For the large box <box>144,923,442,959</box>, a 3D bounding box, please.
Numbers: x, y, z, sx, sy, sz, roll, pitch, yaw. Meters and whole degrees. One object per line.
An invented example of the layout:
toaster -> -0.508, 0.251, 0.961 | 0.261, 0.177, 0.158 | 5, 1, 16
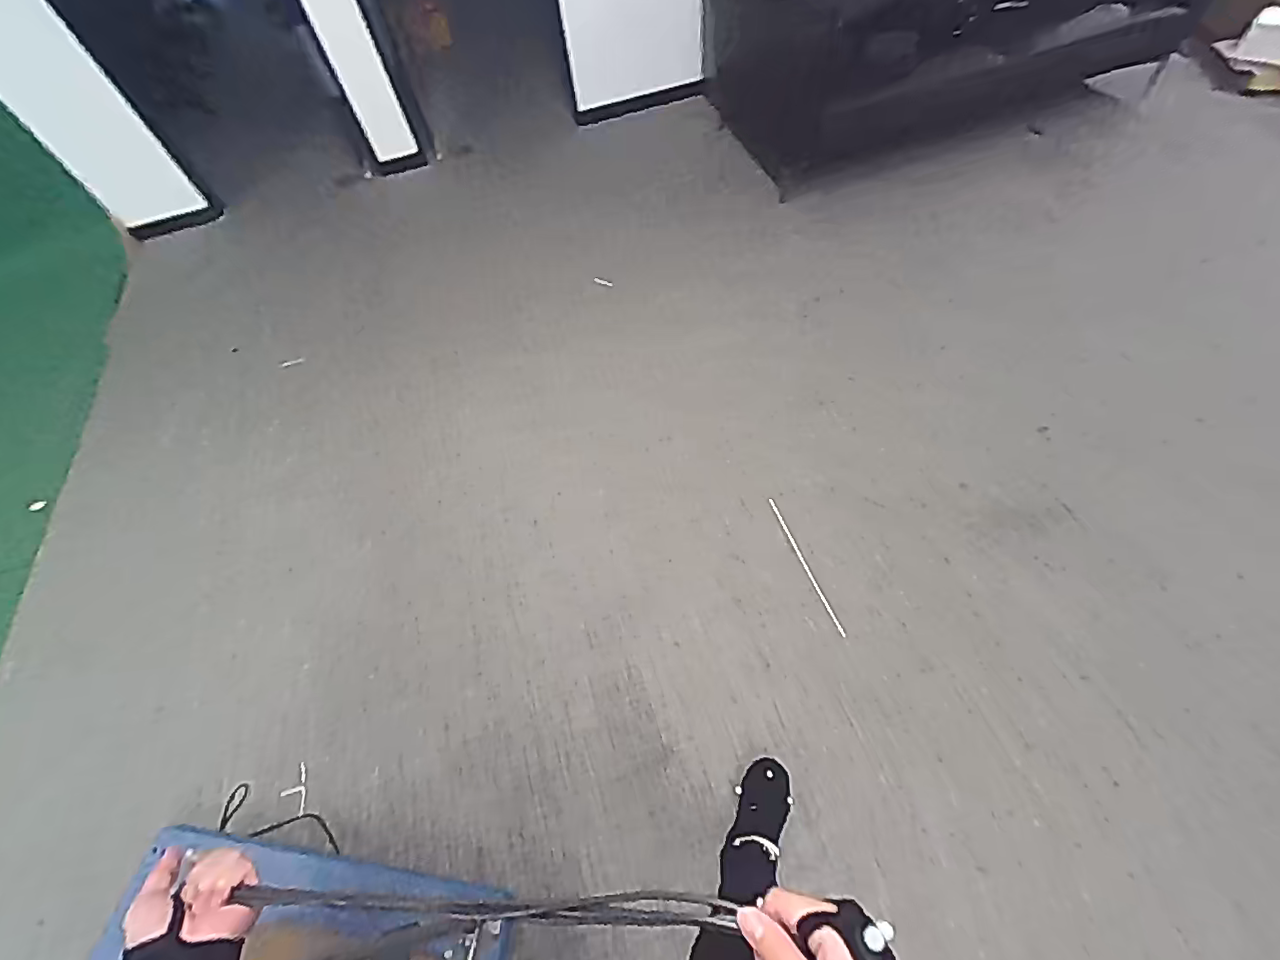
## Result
large box -> -0.613, 0.987, 0.900 | 0.408, 0.320, 0.320 | 4, 57, 10
